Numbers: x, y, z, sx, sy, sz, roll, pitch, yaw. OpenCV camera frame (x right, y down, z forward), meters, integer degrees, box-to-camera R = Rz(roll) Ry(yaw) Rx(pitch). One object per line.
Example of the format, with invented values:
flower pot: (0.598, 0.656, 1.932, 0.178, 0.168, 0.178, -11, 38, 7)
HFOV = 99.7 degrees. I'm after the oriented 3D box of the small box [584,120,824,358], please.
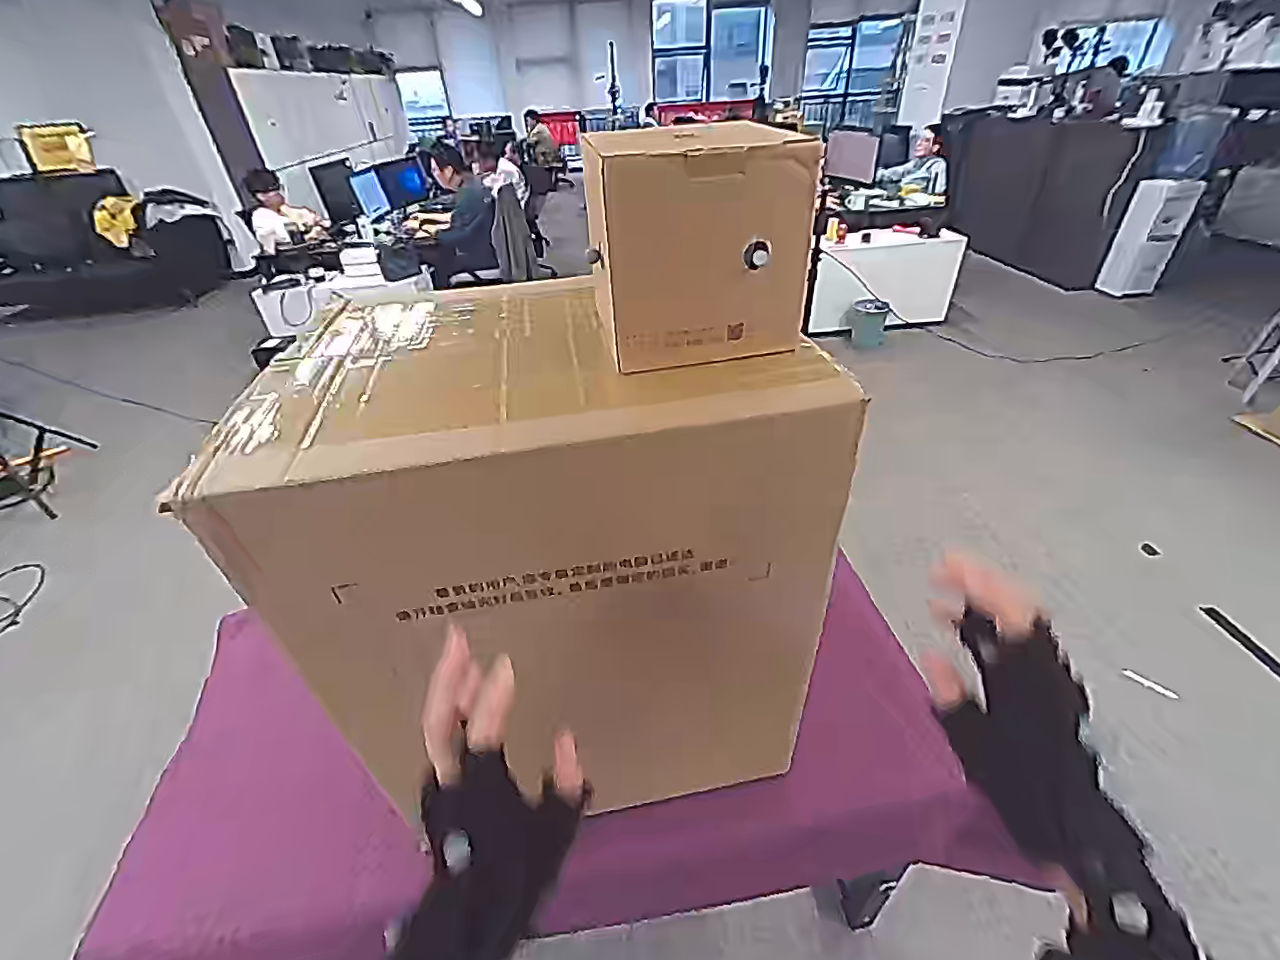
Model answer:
small box: (0.046, -0.219, 0.496, 0.168, 0.176, 0.179, -8, 36, -7)
